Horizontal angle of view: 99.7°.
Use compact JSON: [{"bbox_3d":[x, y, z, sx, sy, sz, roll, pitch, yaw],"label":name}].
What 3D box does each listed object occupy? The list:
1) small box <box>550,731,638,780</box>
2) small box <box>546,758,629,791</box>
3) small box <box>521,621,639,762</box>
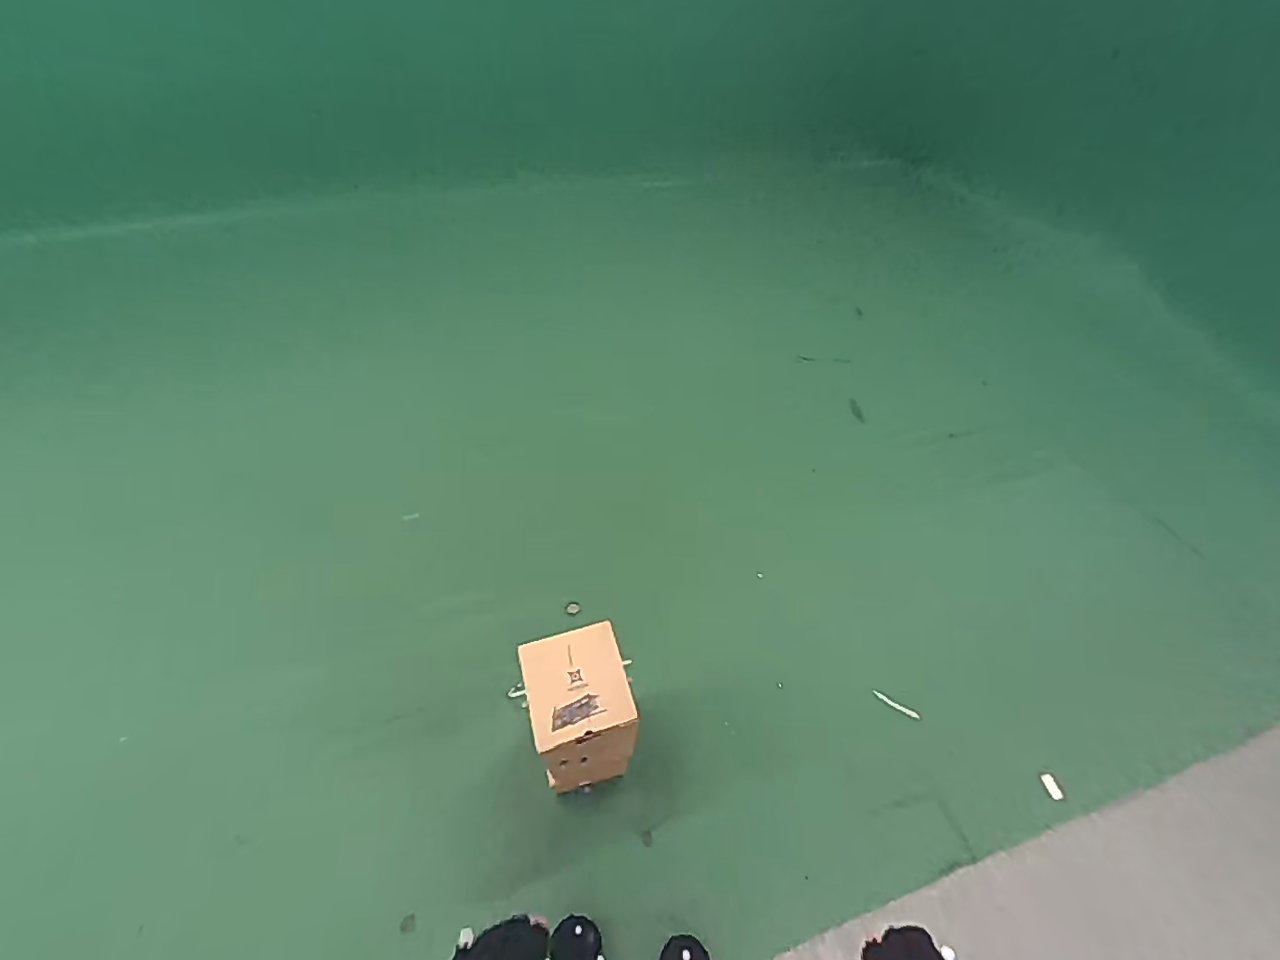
[{"bbox_3d":[-0.110,0.475,1.089,0.168,0.176,0.179,-13,55,-12],"label":"small box"},{"bbox_3d":[-0.125,0.568,1.201,0.168,0.176,0.179,-11,56,-9],"label":"small box"},{"bbox_3d":[-0.104,0.379,0.955,0.168,0.176,0.179,-13,55,-12],"label":"small box"}]
